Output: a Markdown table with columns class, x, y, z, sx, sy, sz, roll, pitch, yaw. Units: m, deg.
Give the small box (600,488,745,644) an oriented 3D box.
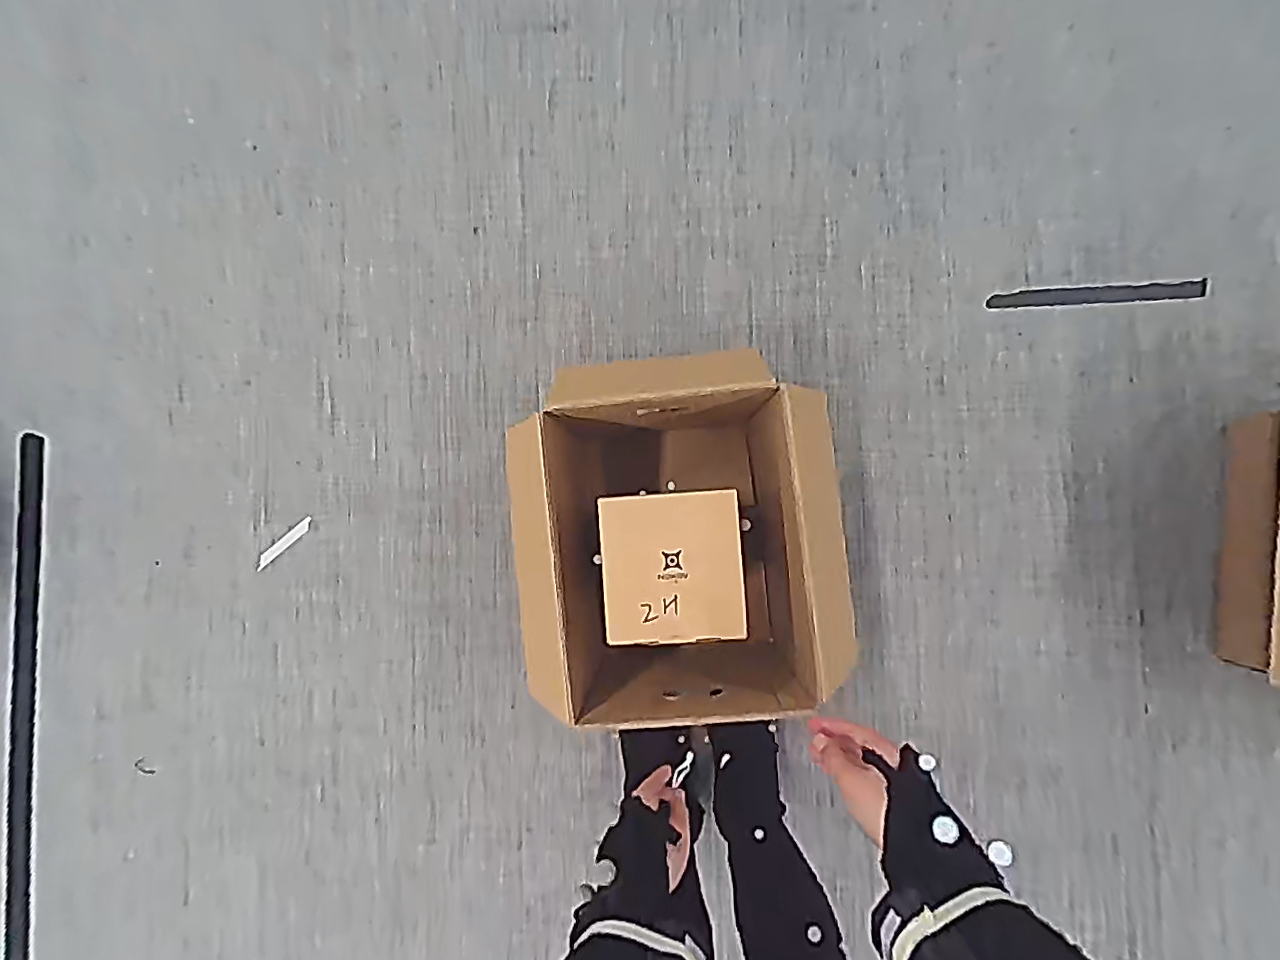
| class | x | y | z | sx | sy | sz | roll | pitch | yaw |
| --- | --- | --- | --- | --- | --- | --- | --- | --- | --- |
| small box | 0.041 | 0.105 | 0.713 | 0.168 | 0.176 | 0.179 | -4 | 88 | 4 |
